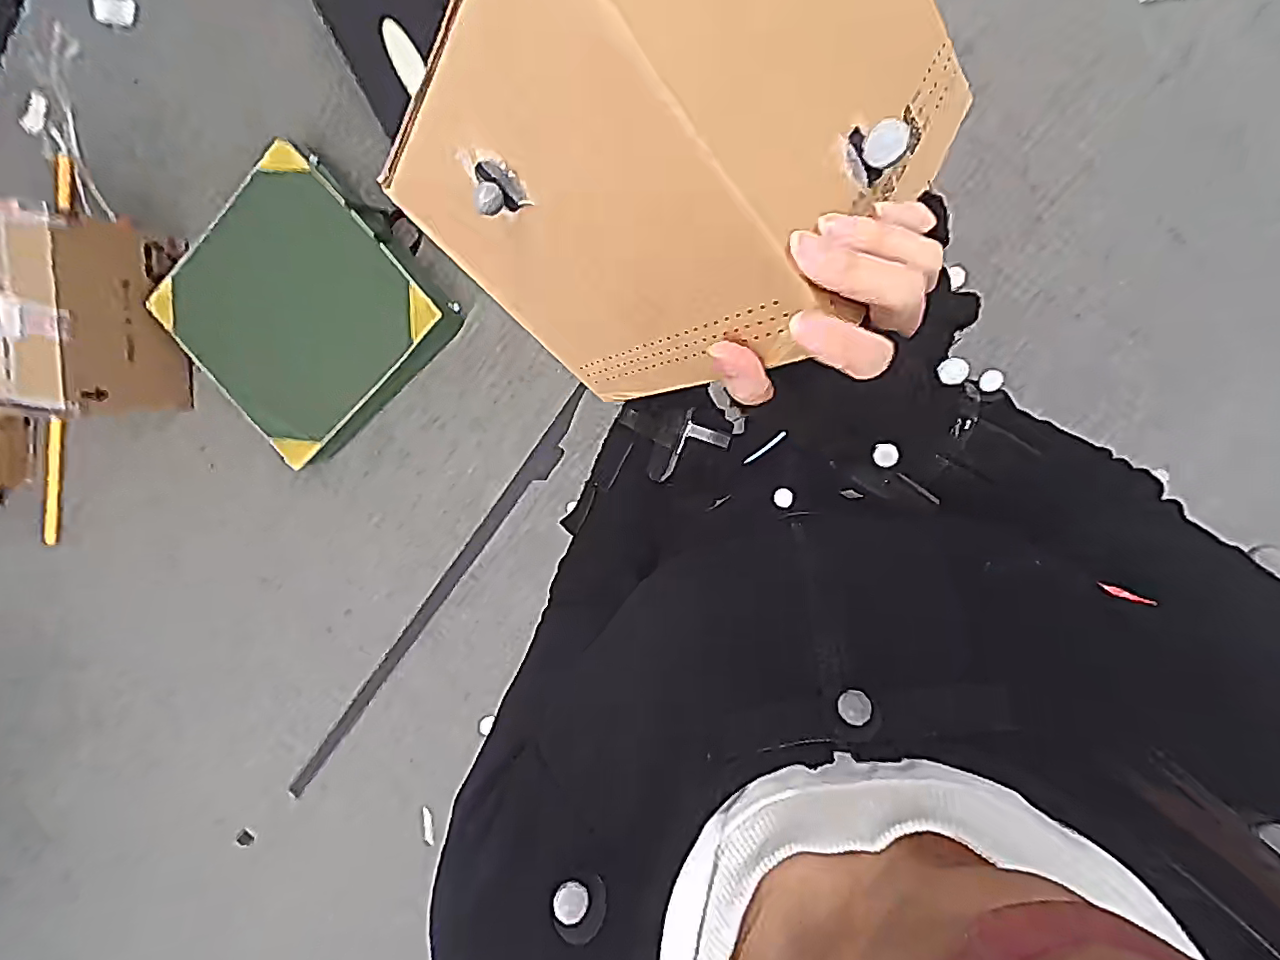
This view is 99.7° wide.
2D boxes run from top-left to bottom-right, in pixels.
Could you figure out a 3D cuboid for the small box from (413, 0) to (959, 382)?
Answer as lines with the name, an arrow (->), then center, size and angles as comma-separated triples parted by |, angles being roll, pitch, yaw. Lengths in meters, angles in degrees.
small box -> 0.020, -0.168, 0.278 | 0.176, 0.179, 0.168 | 41, 70, -27
